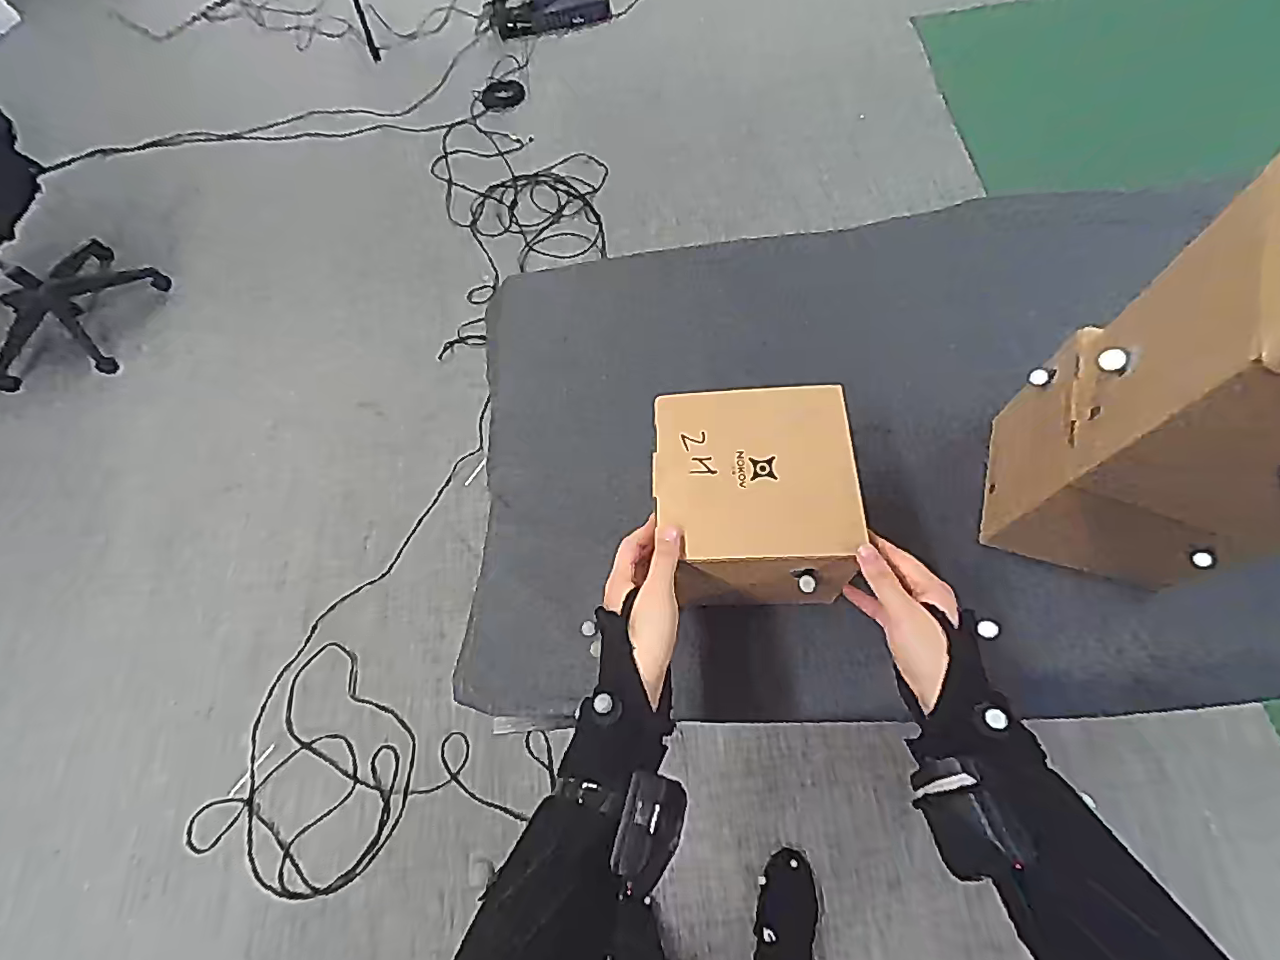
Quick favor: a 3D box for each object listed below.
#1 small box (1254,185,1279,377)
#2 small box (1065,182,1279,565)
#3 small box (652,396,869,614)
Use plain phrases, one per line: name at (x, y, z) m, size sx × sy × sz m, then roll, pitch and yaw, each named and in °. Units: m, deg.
small box at (0.421, -0.124, 0.219) m, size 0.179 × 0.176 × 0.168 m, roll 20°, pitch 69°, yaw 15°
small box at (0.444, -0.057, 0.365) m, size 0.179 × 0.176 × 0.168 m, roll 22°, pitch 70°, yaw 17°
small box at (0.108, 0.035, 0.540) m, size 0.179 × 0.176 × 0.168 m, roll -3°, pitch 64°, yaw 8°
